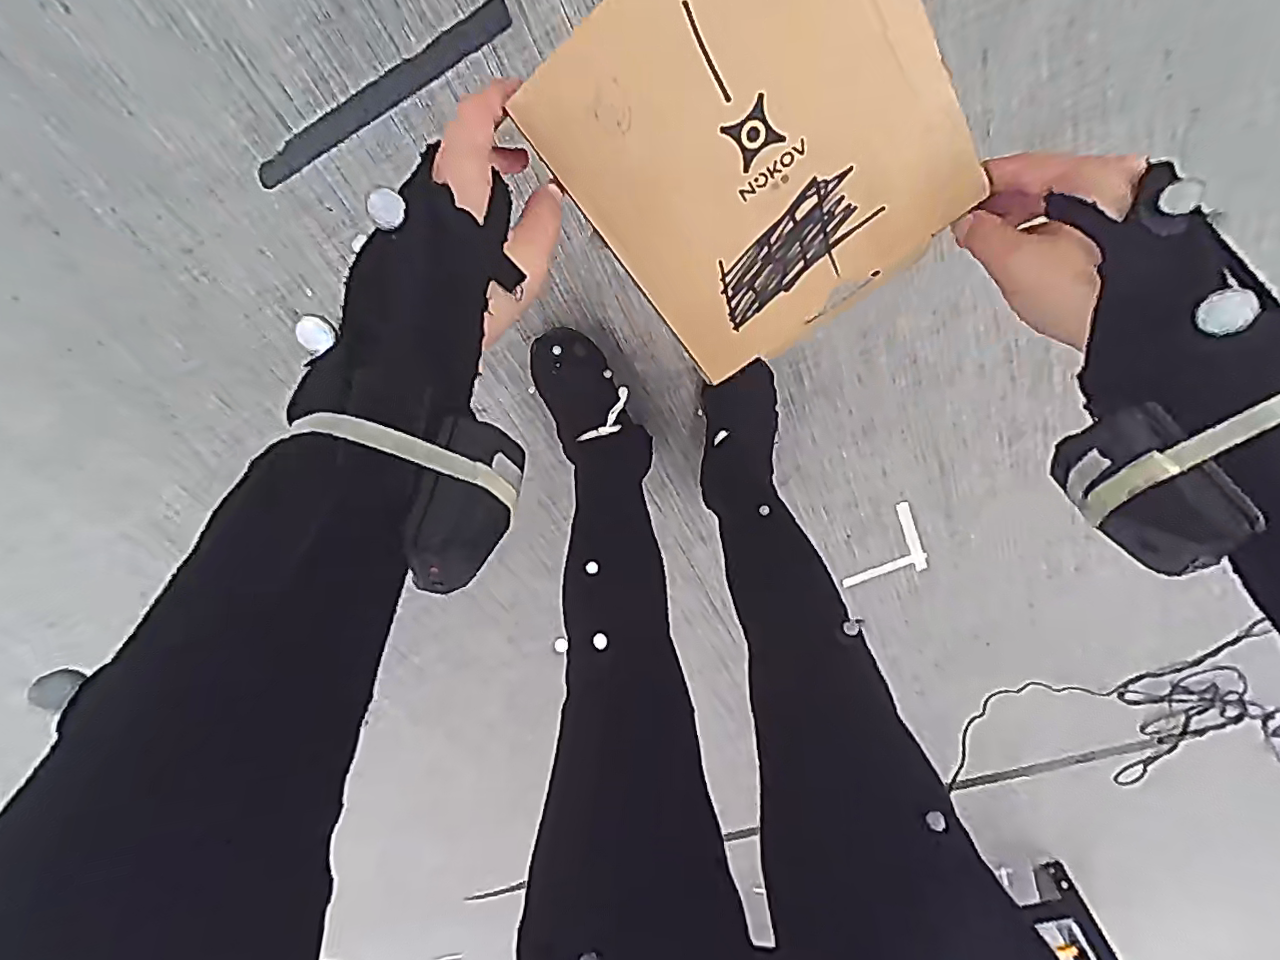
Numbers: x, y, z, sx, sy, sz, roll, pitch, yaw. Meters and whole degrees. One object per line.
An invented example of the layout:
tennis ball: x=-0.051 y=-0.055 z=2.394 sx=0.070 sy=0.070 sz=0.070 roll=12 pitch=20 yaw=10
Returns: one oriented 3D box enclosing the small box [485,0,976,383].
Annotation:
small box: x=0.045 y=-0.195 z=0.312 sx=0.168 sy=0.176 sz=0.179 roll=-34 pitch=119 yaw=18
